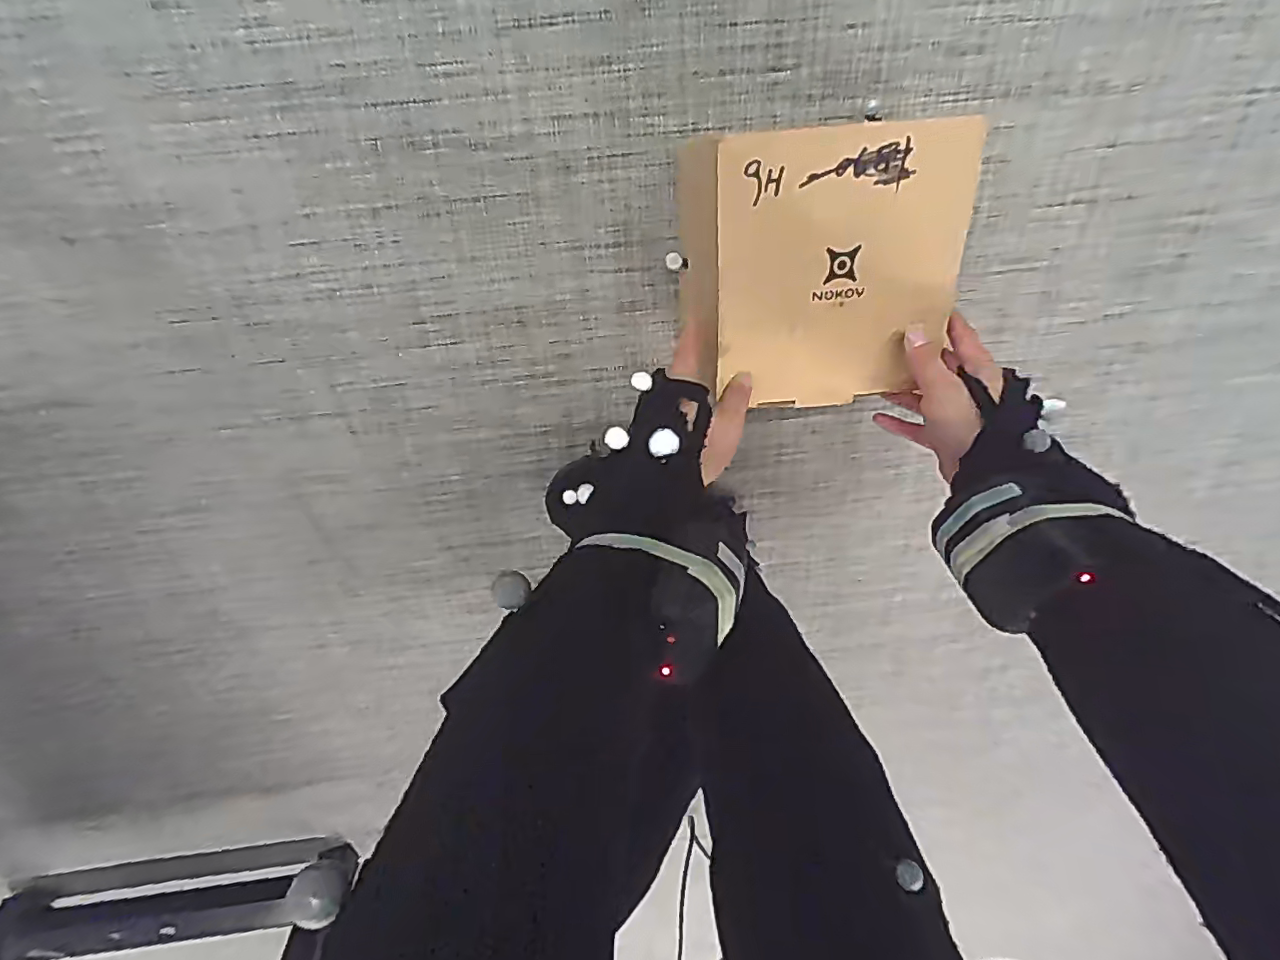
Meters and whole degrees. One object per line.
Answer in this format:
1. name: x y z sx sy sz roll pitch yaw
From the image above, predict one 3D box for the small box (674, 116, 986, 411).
1. small box: 0.121 -0.173 0.424 0.168 0.176 0.179 -6 121 -2
